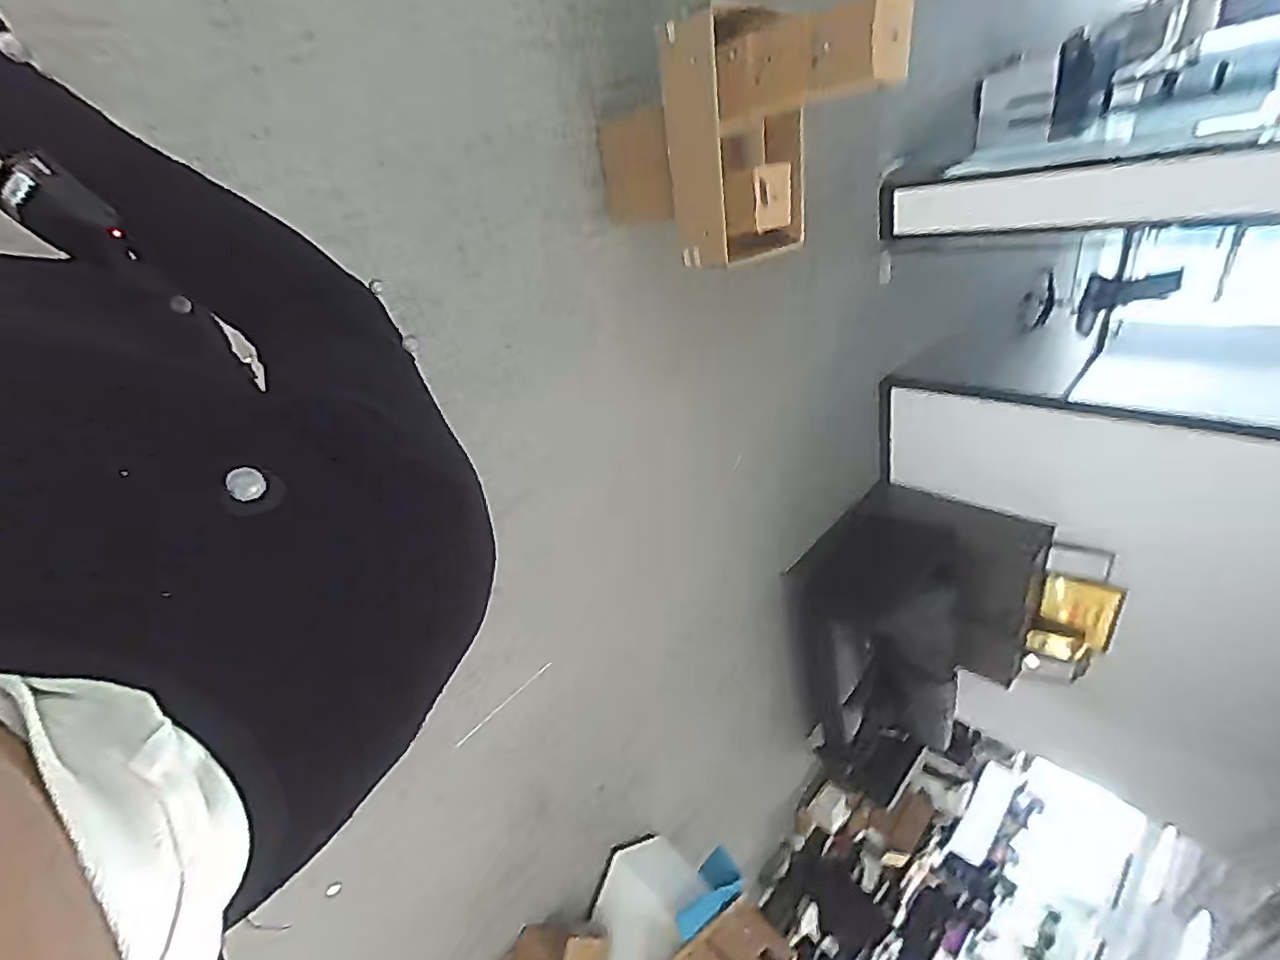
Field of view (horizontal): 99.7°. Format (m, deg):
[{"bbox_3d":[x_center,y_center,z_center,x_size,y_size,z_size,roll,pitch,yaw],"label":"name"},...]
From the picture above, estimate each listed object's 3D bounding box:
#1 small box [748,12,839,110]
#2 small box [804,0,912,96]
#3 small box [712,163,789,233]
[{"bbox_3d":[0.396,-1.063,1.384,0.179,0.176,0.168,-28,123,-33],"label":"small box"},{"bbox_3d":[0.509,-1.021,1.271,0.179,0.176,0.168,-27,122,-34],"label":"small box"},{"bbox_3d":[0.330,-0.848,1.632,0.179,0.176,0.168,-28,123,-34],"label":"small box"}]
